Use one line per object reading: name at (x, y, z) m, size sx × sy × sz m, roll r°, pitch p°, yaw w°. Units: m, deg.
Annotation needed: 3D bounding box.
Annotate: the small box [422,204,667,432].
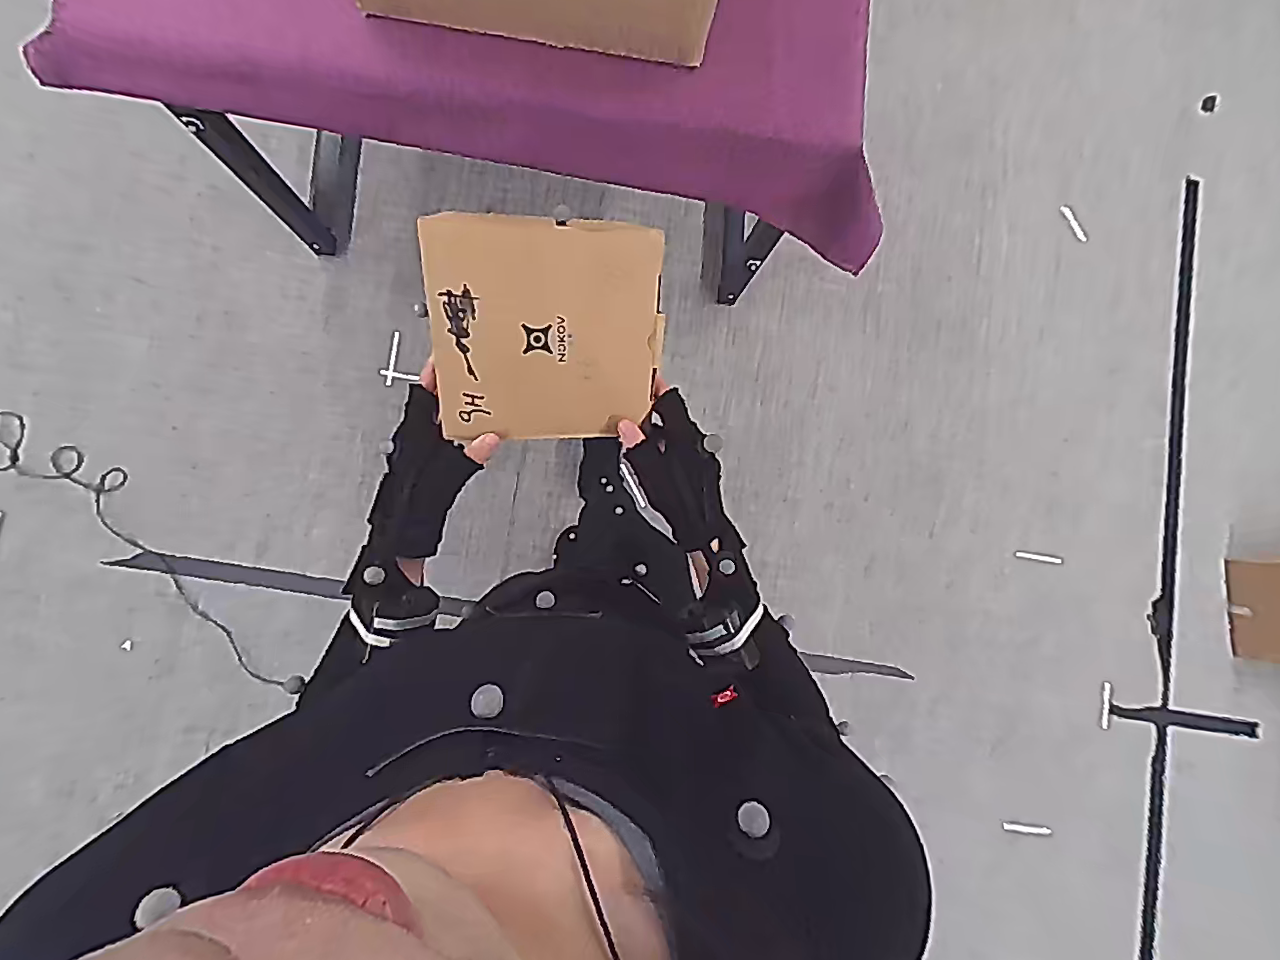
small box at (-0.087, -0.151, 0.486) m, size 0.179 × 0.176 × 0.168 m, roll -3°, pitch 116°, yaw -13°
